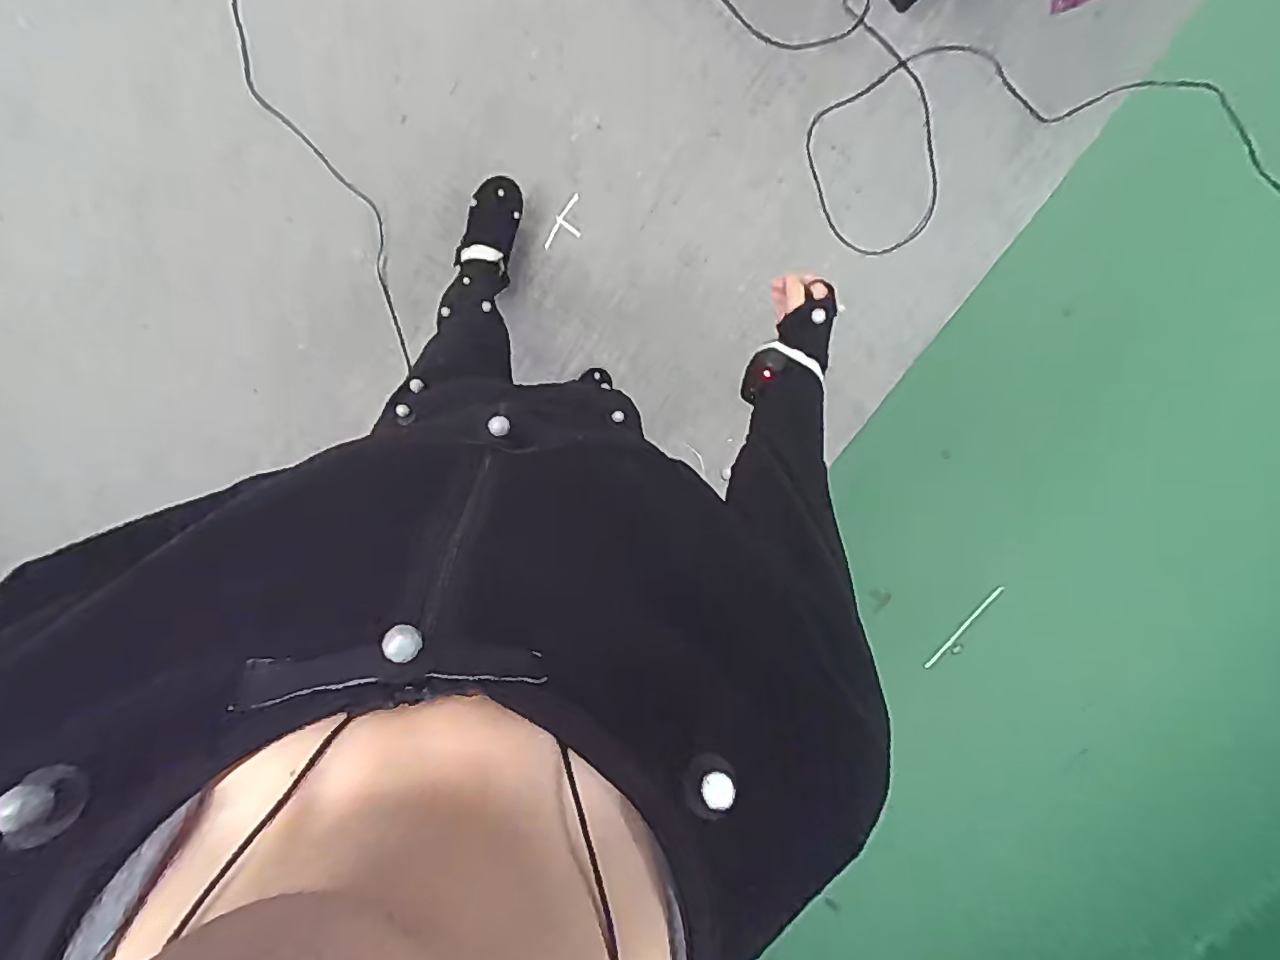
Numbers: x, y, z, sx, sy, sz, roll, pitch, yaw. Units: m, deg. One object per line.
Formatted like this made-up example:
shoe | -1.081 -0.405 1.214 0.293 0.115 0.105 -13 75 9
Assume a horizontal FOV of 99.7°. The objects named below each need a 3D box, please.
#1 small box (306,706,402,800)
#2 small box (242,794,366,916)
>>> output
small box | -0.865 0.825 1.652 0.179 0.176 0.168 32 103 -16
small box | -0.822 0.921 1.341 0.179 0.176 0.168 31 103 -16
